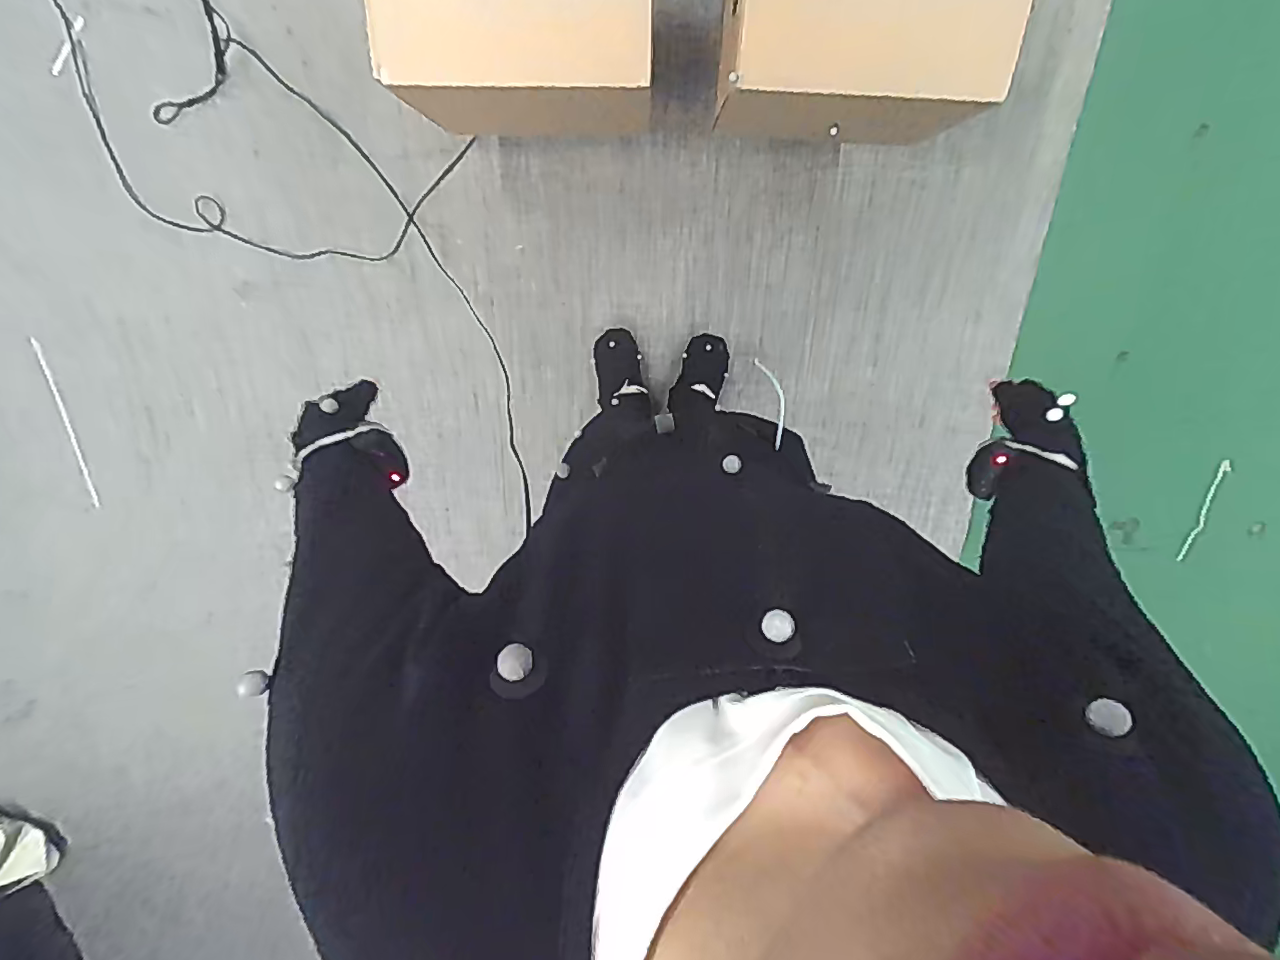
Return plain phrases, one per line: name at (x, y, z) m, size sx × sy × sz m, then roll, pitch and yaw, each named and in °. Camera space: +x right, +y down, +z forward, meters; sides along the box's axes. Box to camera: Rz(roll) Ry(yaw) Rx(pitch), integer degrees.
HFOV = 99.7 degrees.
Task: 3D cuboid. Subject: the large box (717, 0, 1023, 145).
large box at (0.356, -0.768, 0.901) m, size 0.408 × 0.320 × 0.320 m, roll 3°, pitch 111°, yaw 0°
